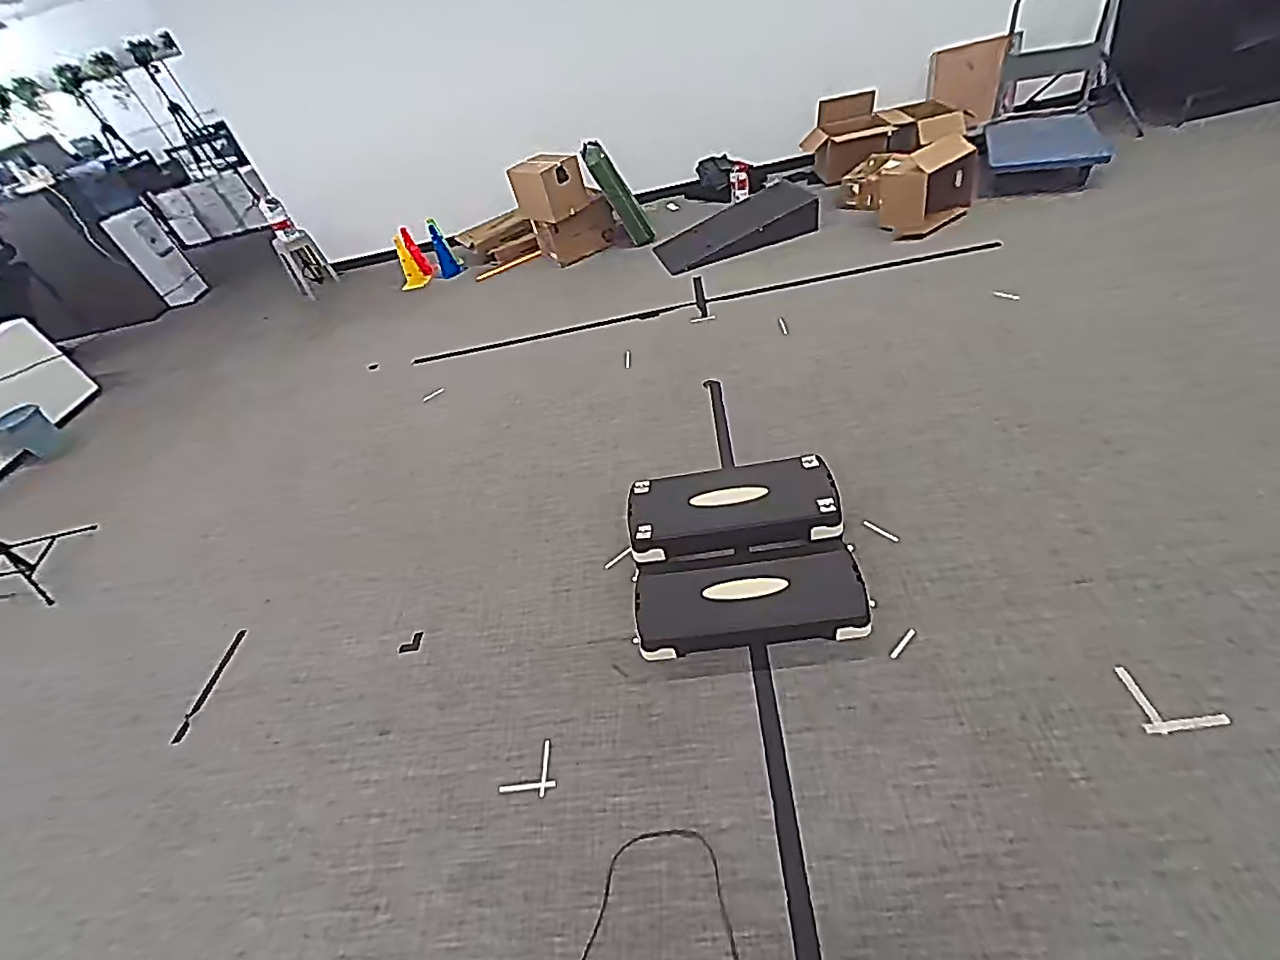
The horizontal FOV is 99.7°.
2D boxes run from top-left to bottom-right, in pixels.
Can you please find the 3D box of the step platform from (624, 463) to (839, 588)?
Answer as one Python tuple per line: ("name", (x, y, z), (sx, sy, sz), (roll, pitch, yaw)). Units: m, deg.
("step platform", (0.287, 0.145, 1.775), (0.684, 0.204, 0.286), (-9, 44, 6))
